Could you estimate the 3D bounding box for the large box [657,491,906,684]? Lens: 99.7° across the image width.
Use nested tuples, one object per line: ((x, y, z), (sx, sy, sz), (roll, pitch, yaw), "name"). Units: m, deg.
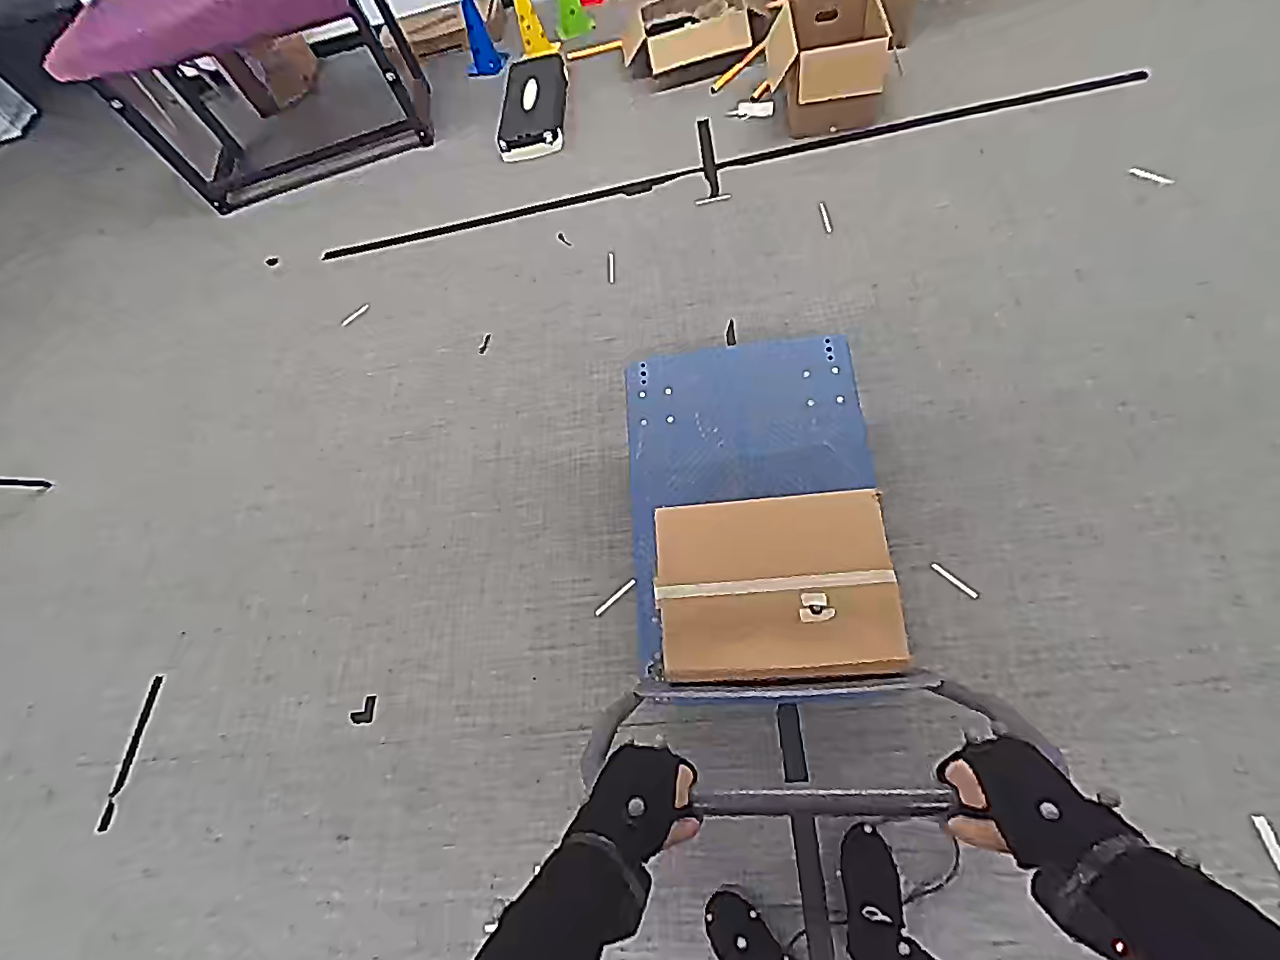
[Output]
((0.260, 0.232, 1.105), (0.408, 0.320, 0.320), (-6, 73, 8), "large box")
